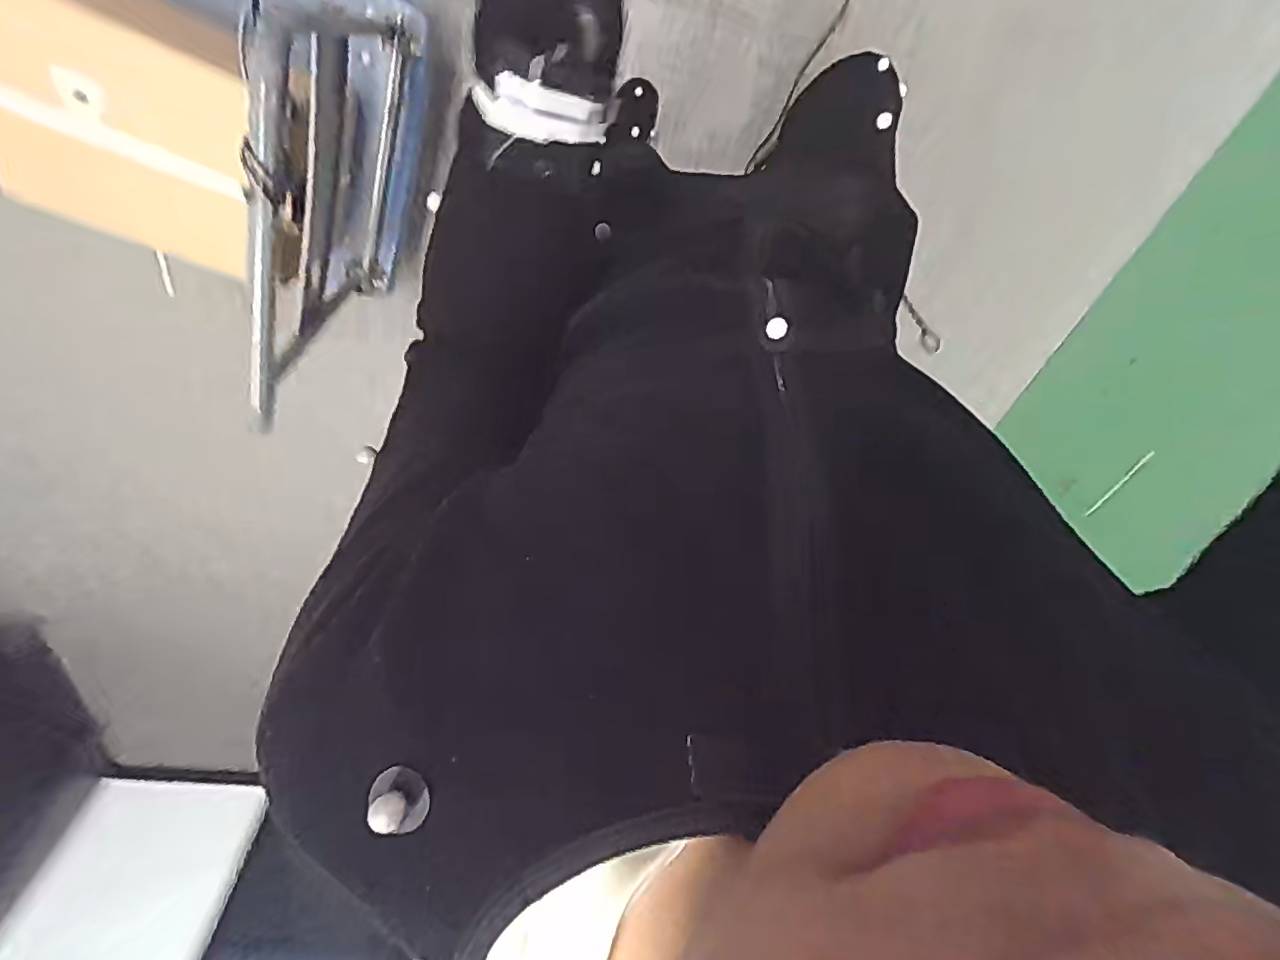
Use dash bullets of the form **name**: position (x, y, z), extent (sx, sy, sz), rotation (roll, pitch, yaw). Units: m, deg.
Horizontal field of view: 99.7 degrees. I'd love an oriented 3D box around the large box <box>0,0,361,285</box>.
- **large box**: position (-0.766, -0.608, 0.956), extent (0.408, 0.320, 0.320), rotation (18, 125, -17)
